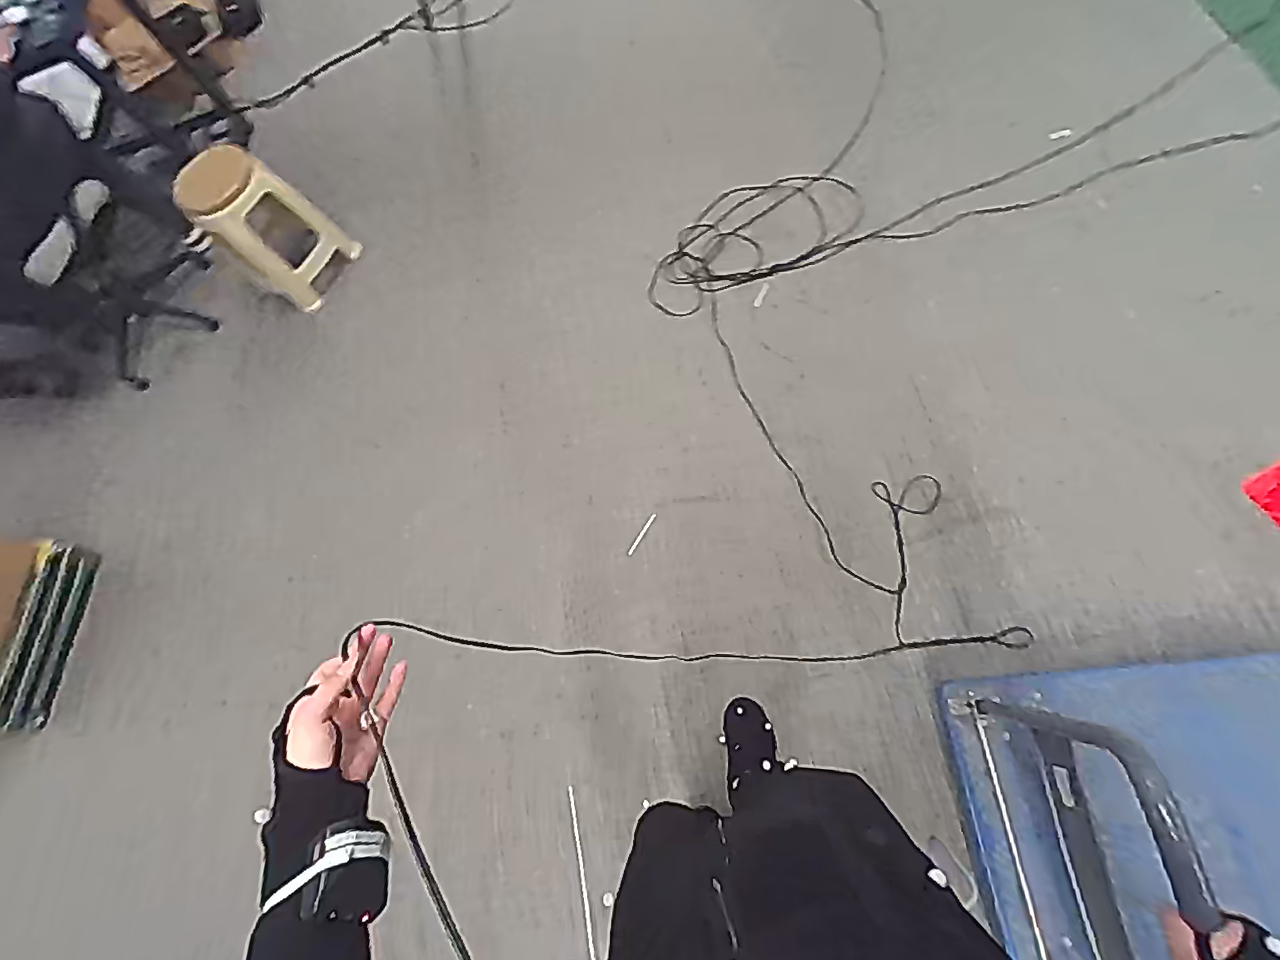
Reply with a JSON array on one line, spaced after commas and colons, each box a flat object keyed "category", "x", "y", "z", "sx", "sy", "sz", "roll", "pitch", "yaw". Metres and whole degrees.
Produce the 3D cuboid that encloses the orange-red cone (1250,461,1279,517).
[{"category": "orange-red cone", "x": 1.565, "y": -0.022, "z": 1.125, "sx": 0.198, "sy": 0.360, "sz": 0.199, "roll": -28, "pitch": 66, "yaw": 1}]
